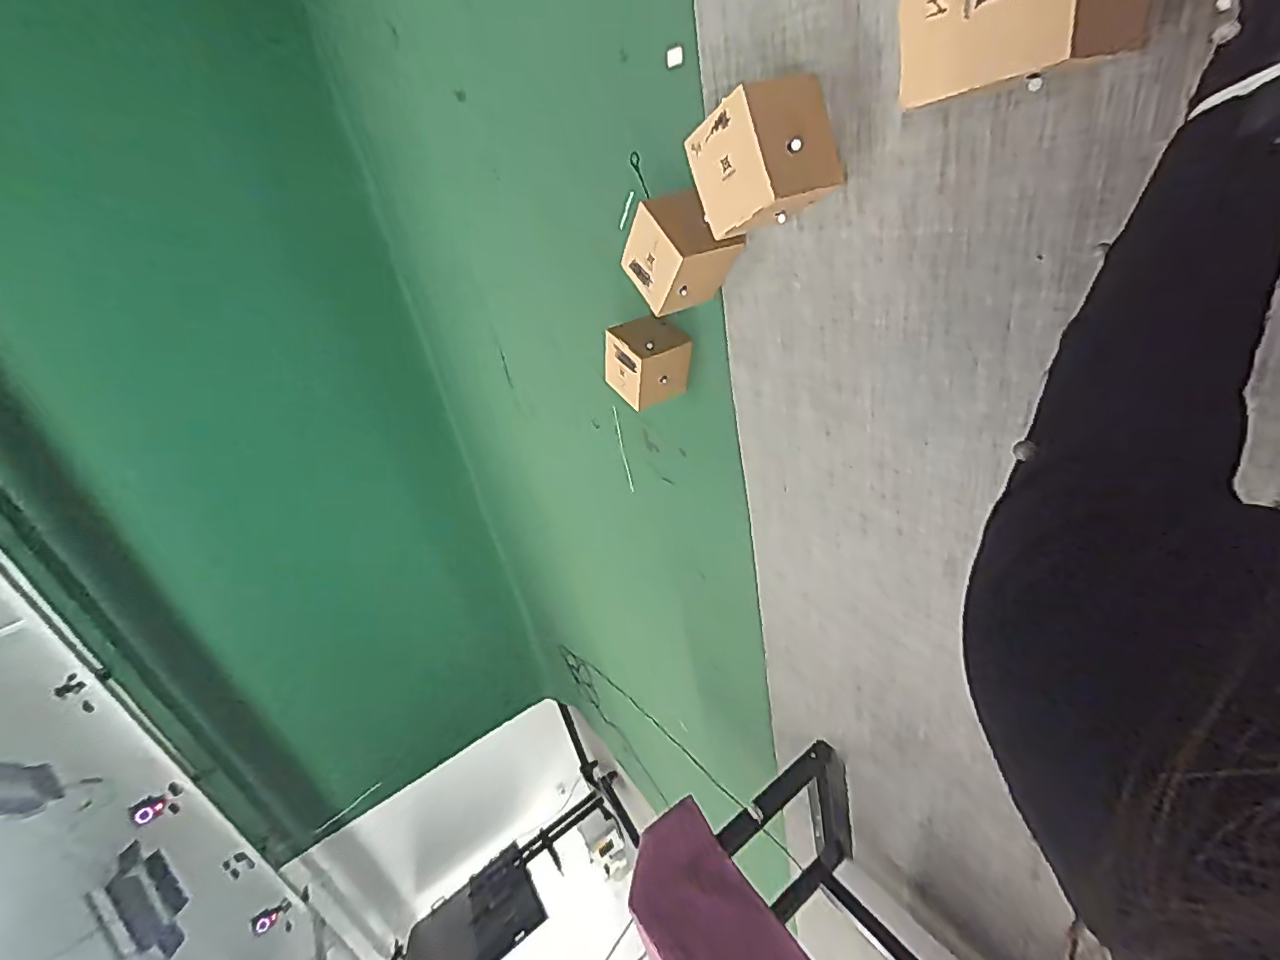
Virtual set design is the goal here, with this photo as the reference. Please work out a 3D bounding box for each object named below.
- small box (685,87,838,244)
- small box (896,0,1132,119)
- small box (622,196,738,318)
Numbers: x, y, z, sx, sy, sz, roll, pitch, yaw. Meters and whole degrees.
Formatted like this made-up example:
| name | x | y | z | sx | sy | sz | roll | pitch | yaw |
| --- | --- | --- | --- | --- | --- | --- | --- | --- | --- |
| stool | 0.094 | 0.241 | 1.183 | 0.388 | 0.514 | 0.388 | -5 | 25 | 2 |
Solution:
| name | x | y | z | sx | sy | sz | roll | pitch | yaw |
| --- | --- | --- | --- | --- | --- | --- | --- | --- | --- |
| small box | 0.212 | -0.541 | 0.935 | 0.168 | 0.176 | 0.179 | 0 | 114 | 62 |
| small box | 0.409 | -0.518 | 0.590 | 0.179 | 0.176 | 0.168 | 24 | 133 | 52 |
| small box | 0.088 | -0.497 | 1.204 | 0.168 | 0.176 | 0.179 | 58 | 152 | 13 |
